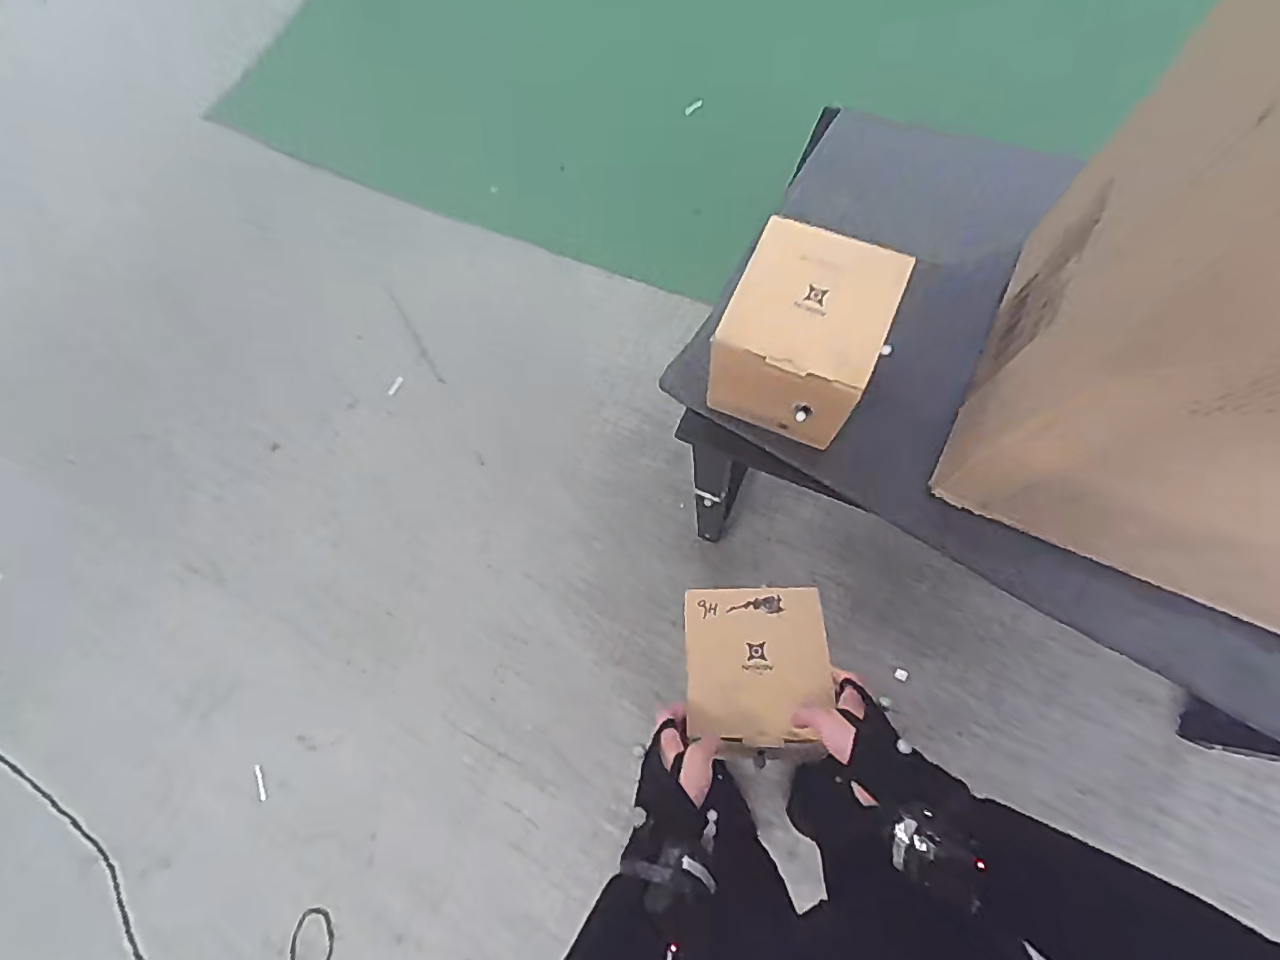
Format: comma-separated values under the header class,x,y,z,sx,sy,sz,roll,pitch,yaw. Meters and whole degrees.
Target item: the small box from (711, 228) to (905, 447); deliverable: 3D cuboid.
class,x,y,z,sx,sy,sz,roll,pitch,yaw
small box,0.193,-0.164,0.668,0.168,0.176,0.179,22,73,10
